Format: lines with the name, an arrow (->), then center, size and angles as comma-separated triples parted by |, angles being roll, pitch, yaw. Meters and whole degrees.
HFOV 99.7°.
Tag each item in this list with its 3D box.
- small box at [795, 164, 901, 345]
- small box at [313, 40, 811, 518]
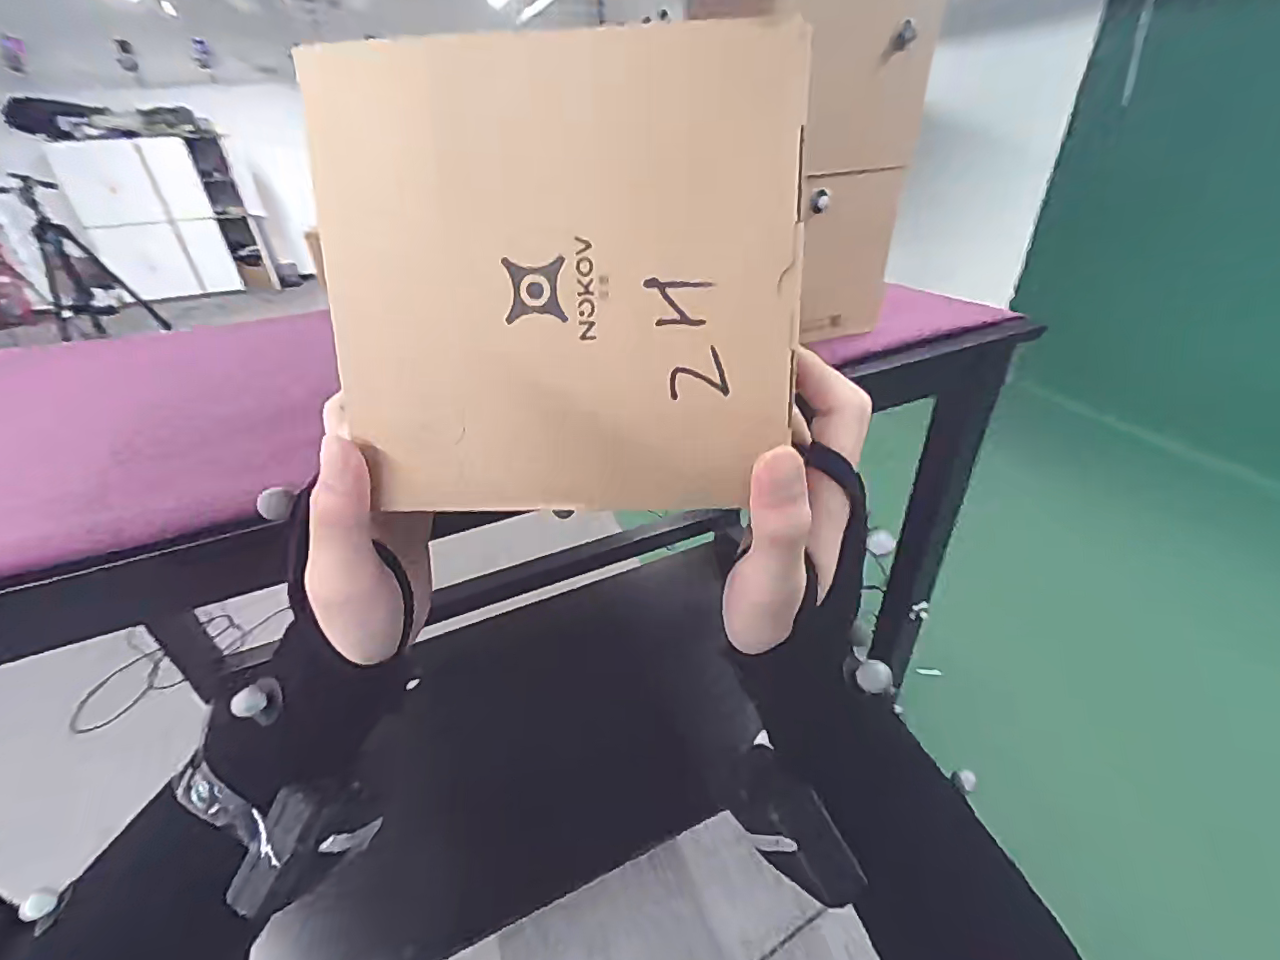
small box -> 0.162, -0.264, 0.629 | 0.168, 0.176, 0.179 | -15, 34, -15
small box -> -0.023, -0.083, 0.278 | 0.179, 0.168, 0.176 | 0, 13, 4
